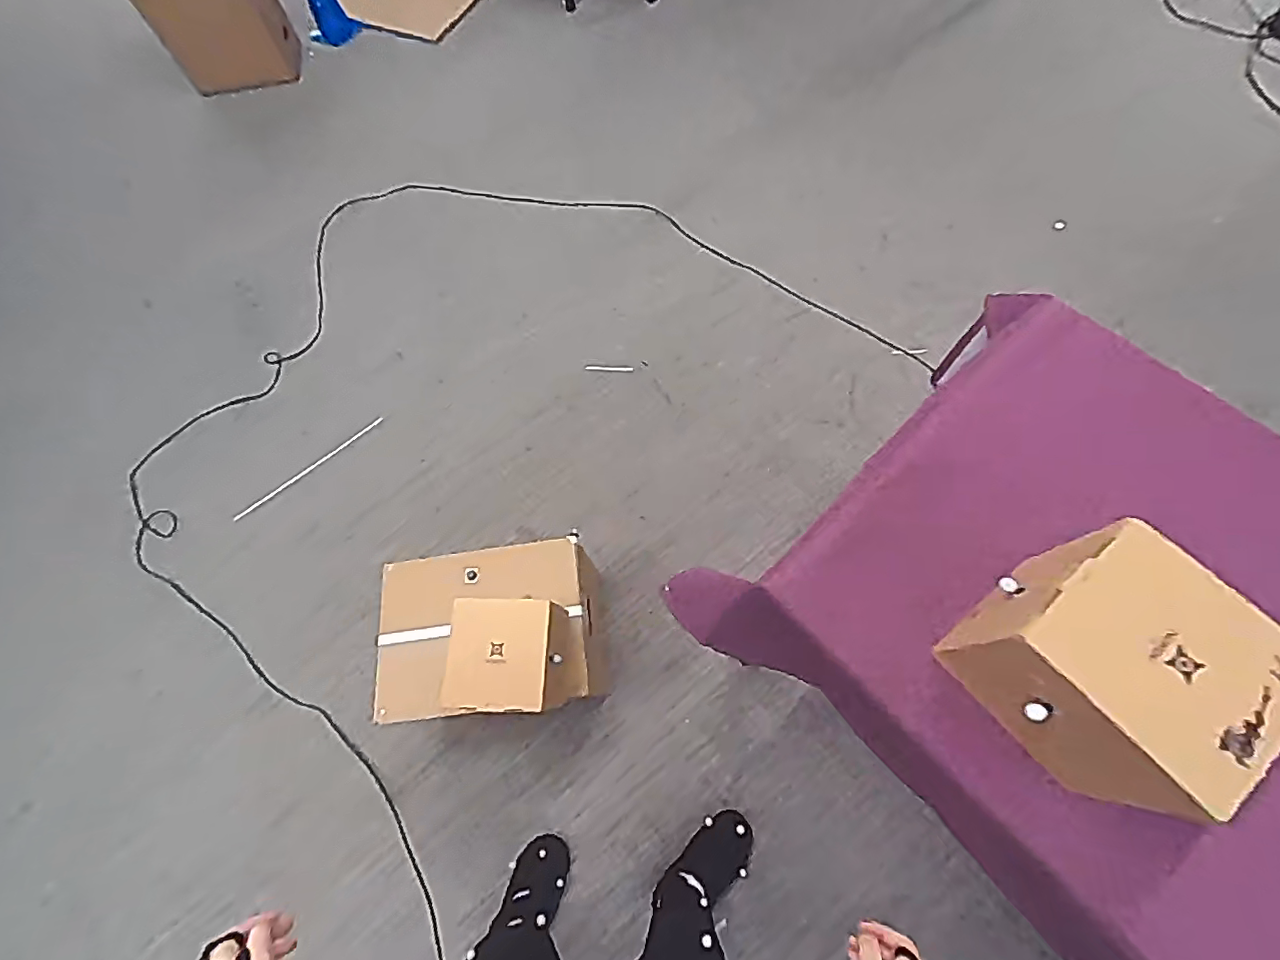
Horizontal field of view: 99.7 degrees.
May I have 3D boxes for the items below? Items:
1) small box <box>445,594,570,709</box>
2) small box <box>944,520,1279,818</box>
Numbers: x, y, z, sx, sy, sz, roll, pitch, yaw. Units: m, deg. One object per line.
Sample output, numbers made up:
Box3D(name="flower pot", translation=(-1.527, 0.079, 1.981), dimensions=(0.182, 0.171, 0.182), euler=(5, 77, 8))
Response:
Box3D(name="small box", translation=(-0.222, 0.301, 0.953), dimensions=(0.168, 0.176, 0.179), euler=(0, 72, 4))
Box3D(name="small box", translation=(0.435, 0.172, 0.509), dimensions=(0.168, 0.176, 0.179), euler=(-38, 69, -11))
